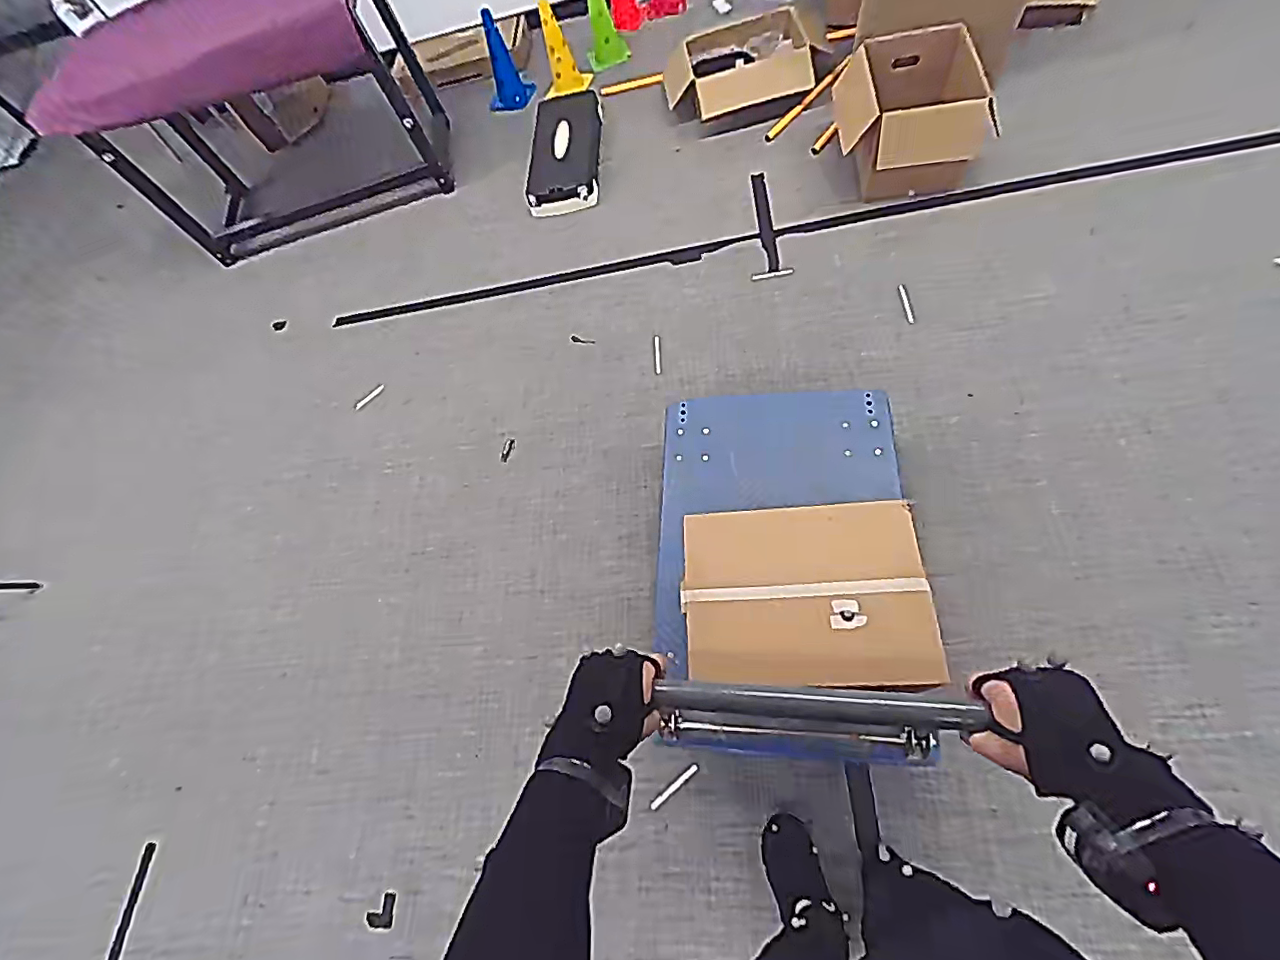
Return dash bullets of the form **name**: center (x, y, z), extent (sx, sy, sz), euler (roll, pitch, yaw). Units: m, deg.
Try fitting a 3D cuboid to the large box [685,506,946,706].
- **large box**: center (0.309, 0.265, 1.068), extent (0.408, 0.320, 0.320), euler (-4, 64, 9)
